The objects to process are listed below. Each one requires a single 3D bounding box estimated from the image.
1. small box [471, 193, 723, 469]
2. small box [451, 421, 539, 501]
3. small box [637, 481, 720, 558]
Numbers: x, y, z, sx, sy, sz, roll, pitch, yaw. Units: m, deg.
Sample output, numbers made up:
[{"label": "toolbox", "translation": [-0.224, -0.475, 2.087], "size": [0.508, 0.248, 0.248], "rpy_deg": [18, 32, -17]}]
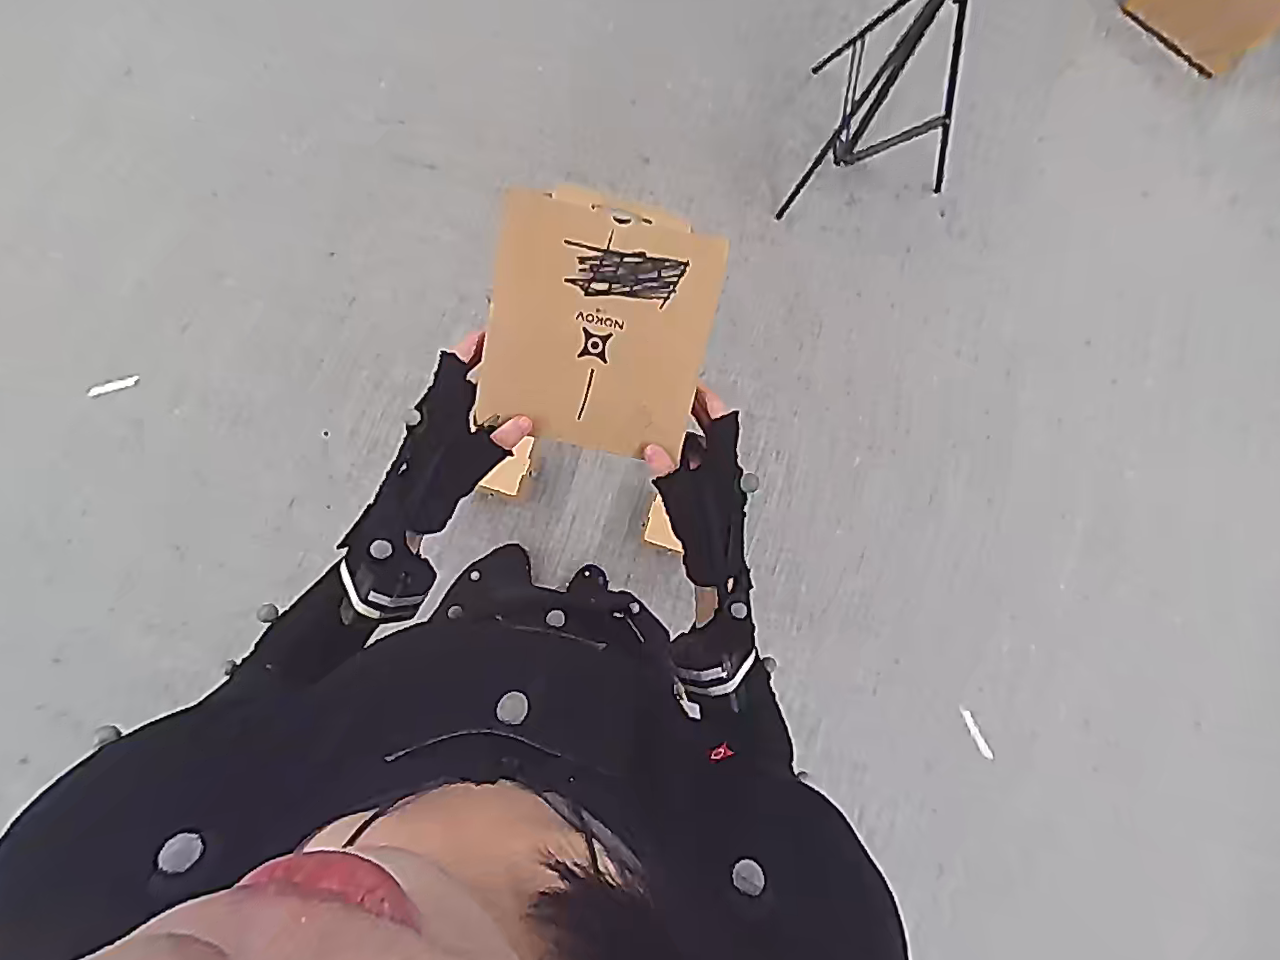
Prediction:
[{"label": "small box", "translation": [-0.040, -0.123, 0.489], "size": [0.168, 0.176, 0.179], "rpy_deg": [11, 100, -6]}, {"label": "small box", "translation": [-0.386, -0.046, 1.477], "size": [0.179, 0.176, 0.168], "rpy_deg": [18, 79, -2]}, {"label": "small box", "translation": [0.099, 0.116, 1.493], "size": [0.179, 0.176, 0.168], "rpy_deg": [18, 80, -3]}]
